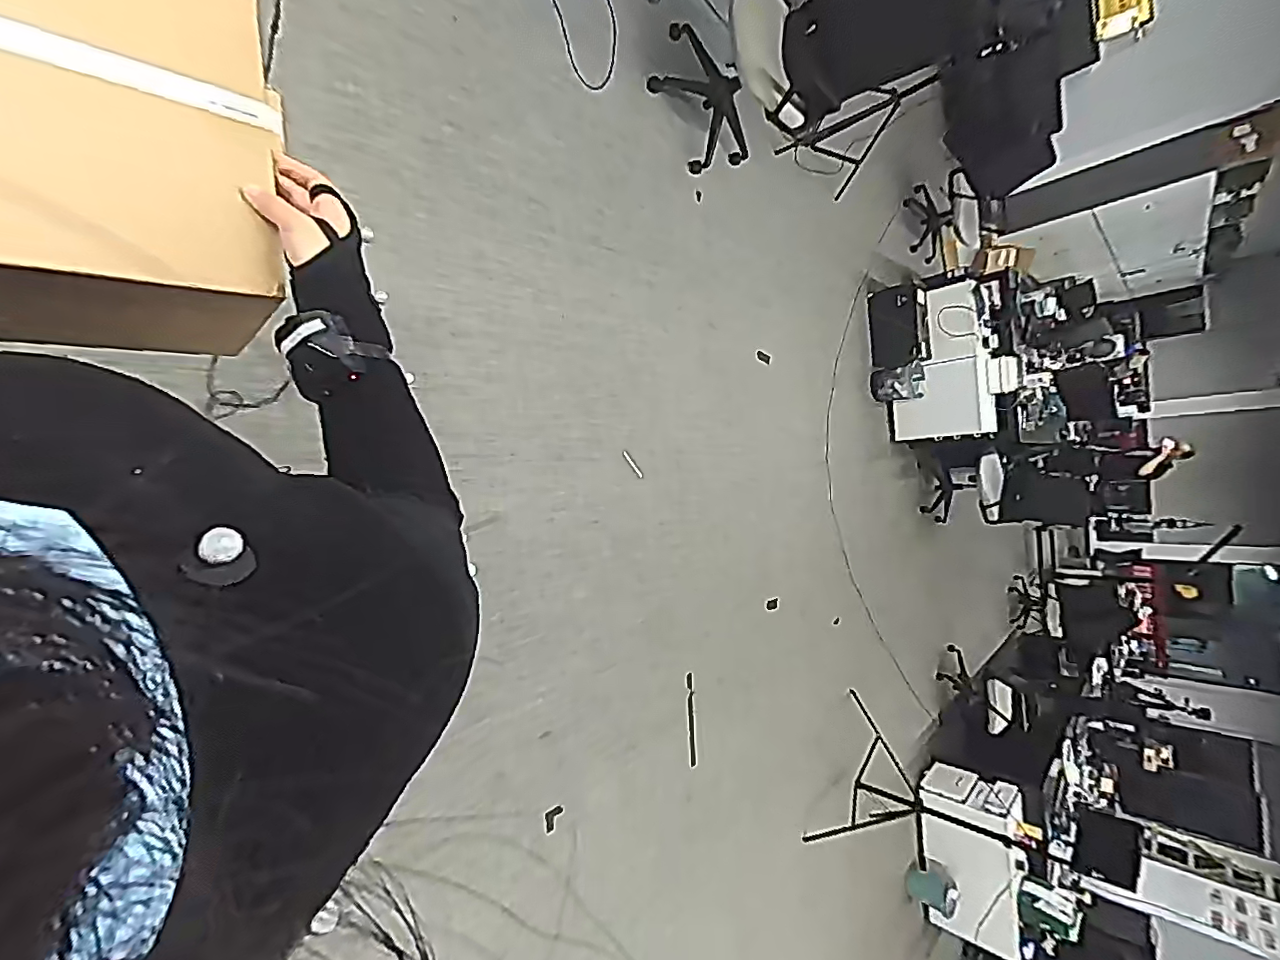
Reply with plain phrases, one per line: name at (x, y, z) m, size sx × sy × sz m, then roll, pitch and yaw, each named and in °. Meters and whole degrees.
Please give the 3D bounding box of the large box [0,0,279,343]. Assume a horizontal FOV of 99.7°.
large box at (-0.585, -0.308, 0.462) m, size 0.408 × 0.320 × 0.320 m, roll -7°, pitch 93°, yaw -42°
